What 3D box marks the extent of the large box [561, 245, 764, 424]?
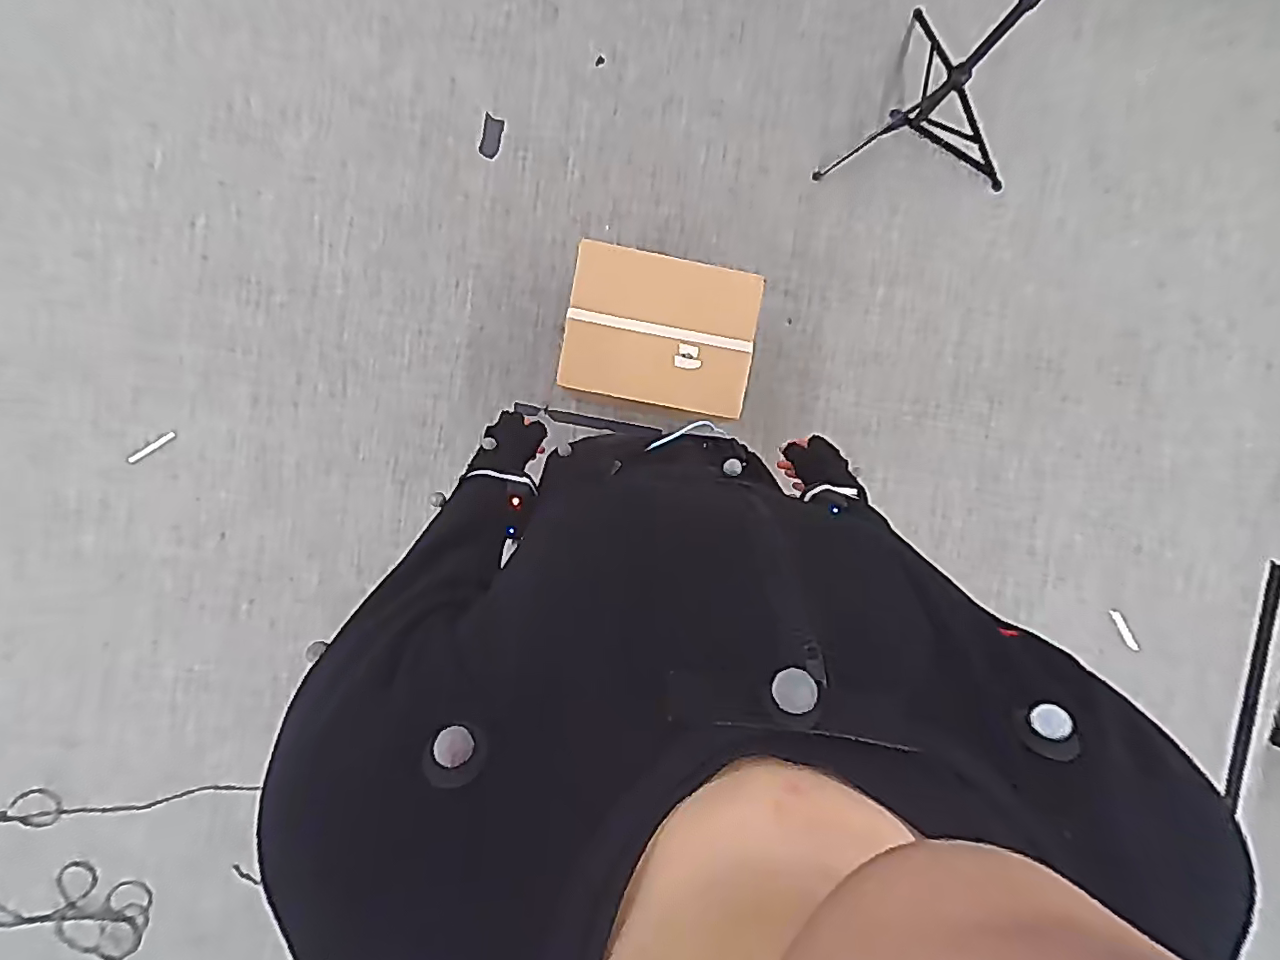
[{"bbox_3d":[0.039,-0.327,1.315,0.408,0.320,0.320,11,93,-4],"label":"large box"}]
